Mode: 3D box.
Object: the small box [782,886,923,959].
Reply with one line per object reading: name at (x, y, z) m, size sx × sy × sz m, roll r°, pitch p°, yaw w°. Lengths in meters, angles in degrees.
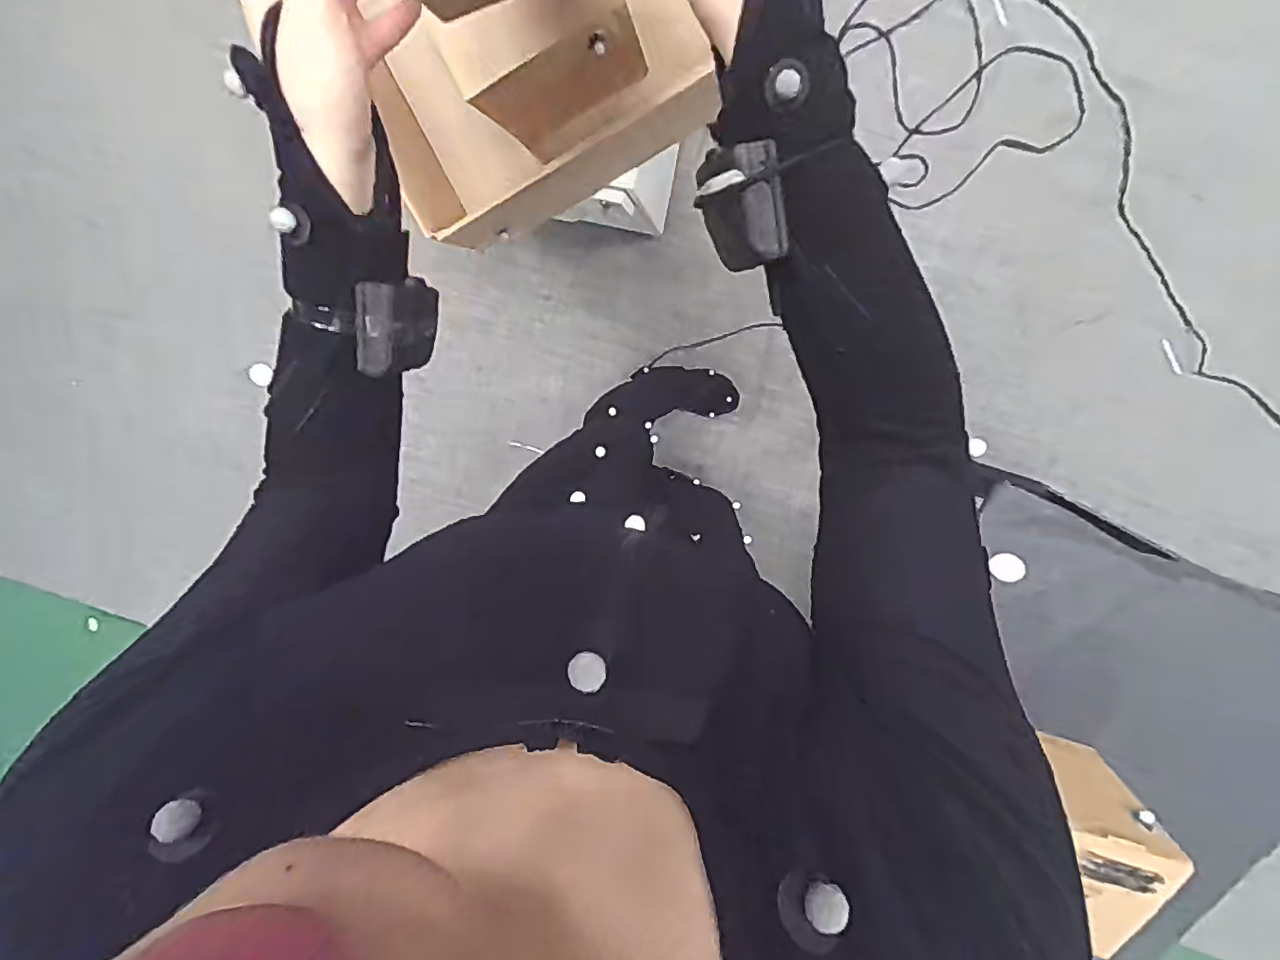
small box at (0.335, 0.788, 0.837) m, size 0.168 × 0.176 × 0.179 m, roll 21°, pitch 109°, yaw -3°
